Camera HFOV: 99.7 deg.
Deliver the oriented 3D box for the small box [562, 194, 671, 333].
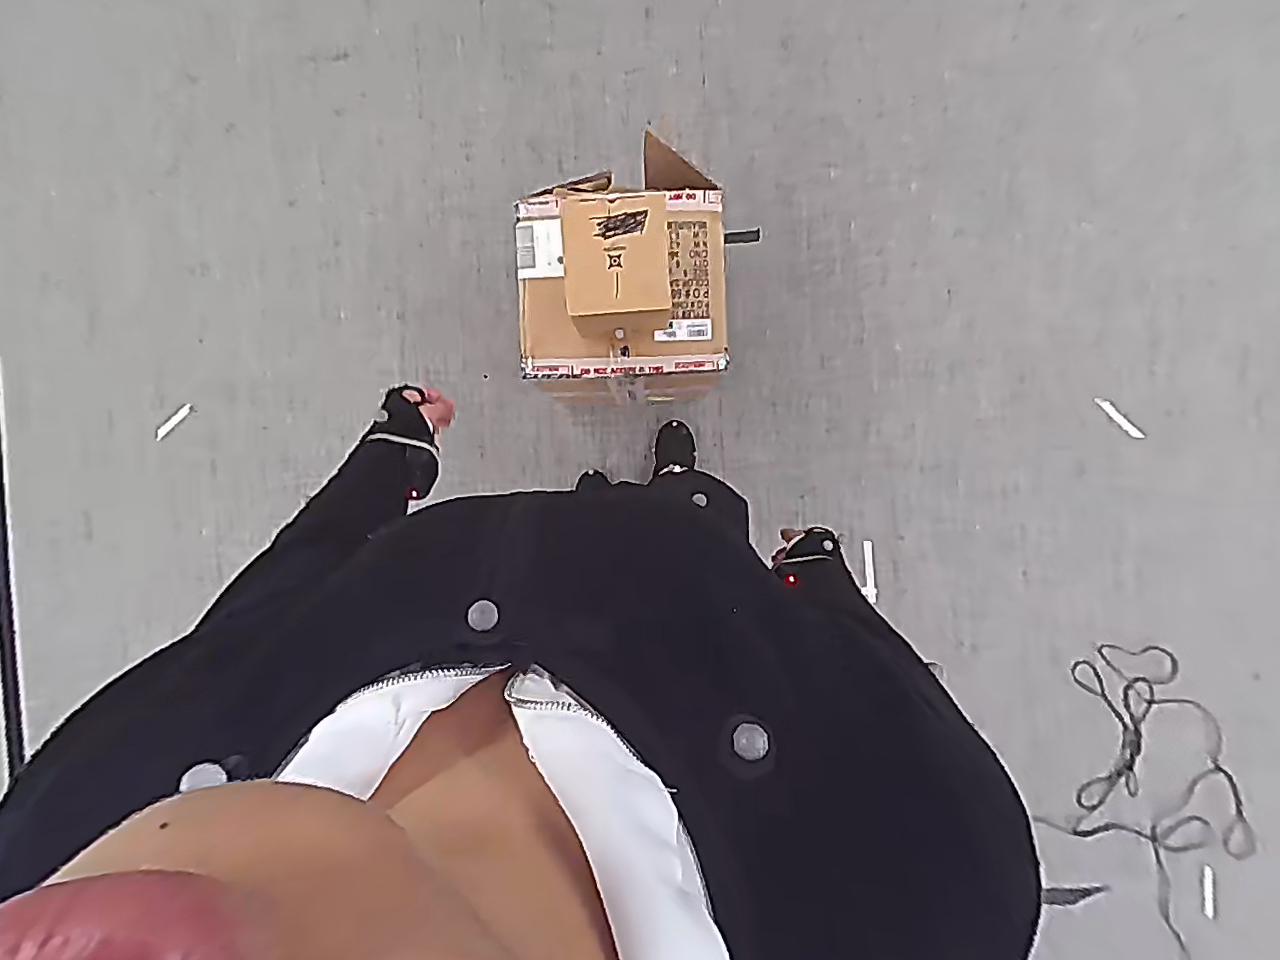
[{"bbox_3d":[-0.036,-0.356,0.917,0.168,0.176,0.179,-3,95,1],"label":"small box"}]
